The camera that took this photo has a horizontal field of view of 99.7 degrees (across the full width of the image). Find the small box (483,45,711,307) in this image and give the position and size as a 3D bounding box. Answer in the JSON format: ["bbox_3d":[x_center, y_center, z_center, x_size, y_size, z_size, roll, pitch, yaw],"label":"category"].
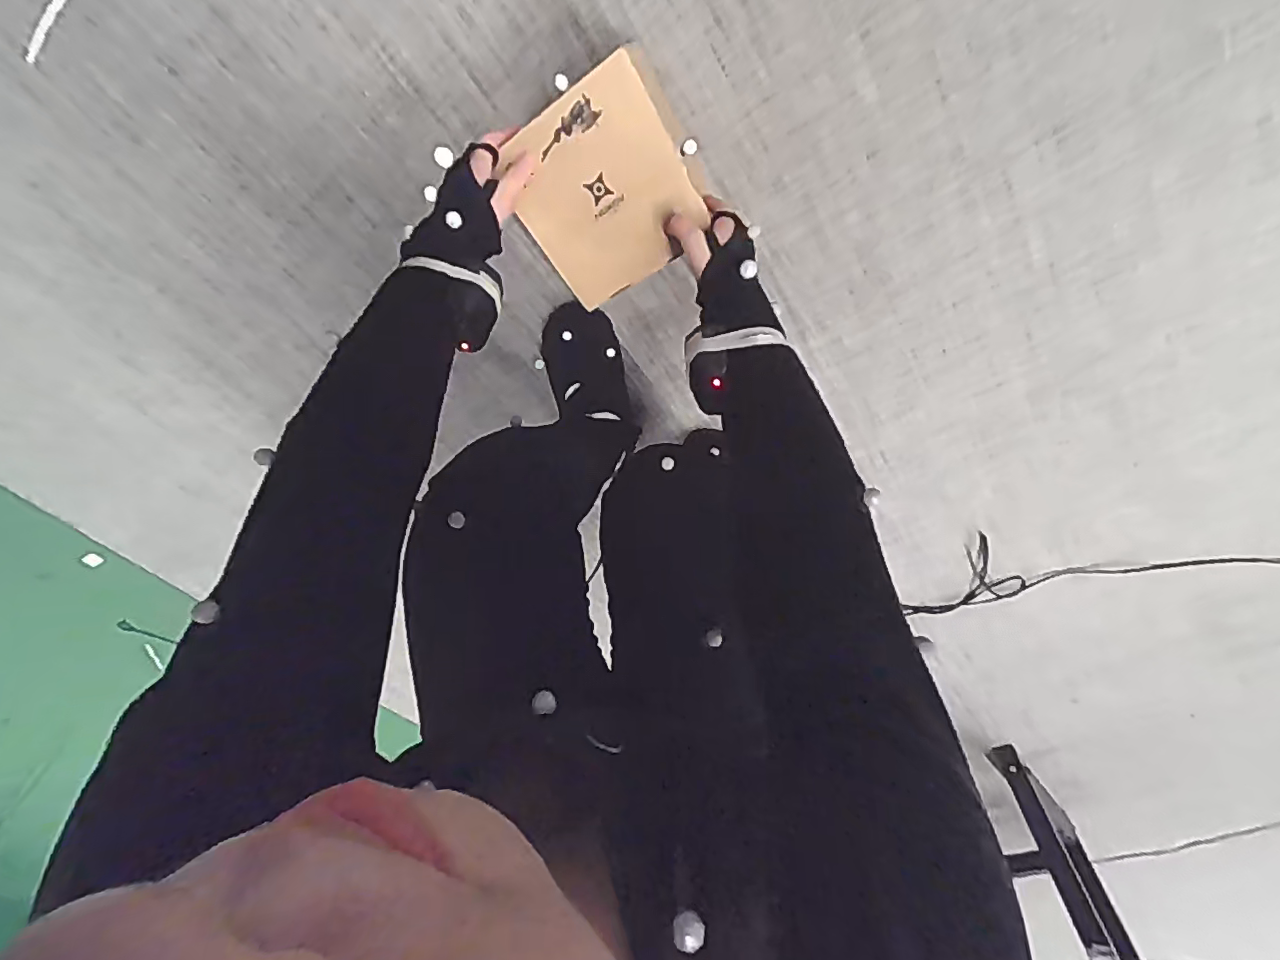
[{"bbox_3d":[-0.033,-0.330,0.590,0.168,0.176,0.179,-23,125,23],"label":"small box"}]
